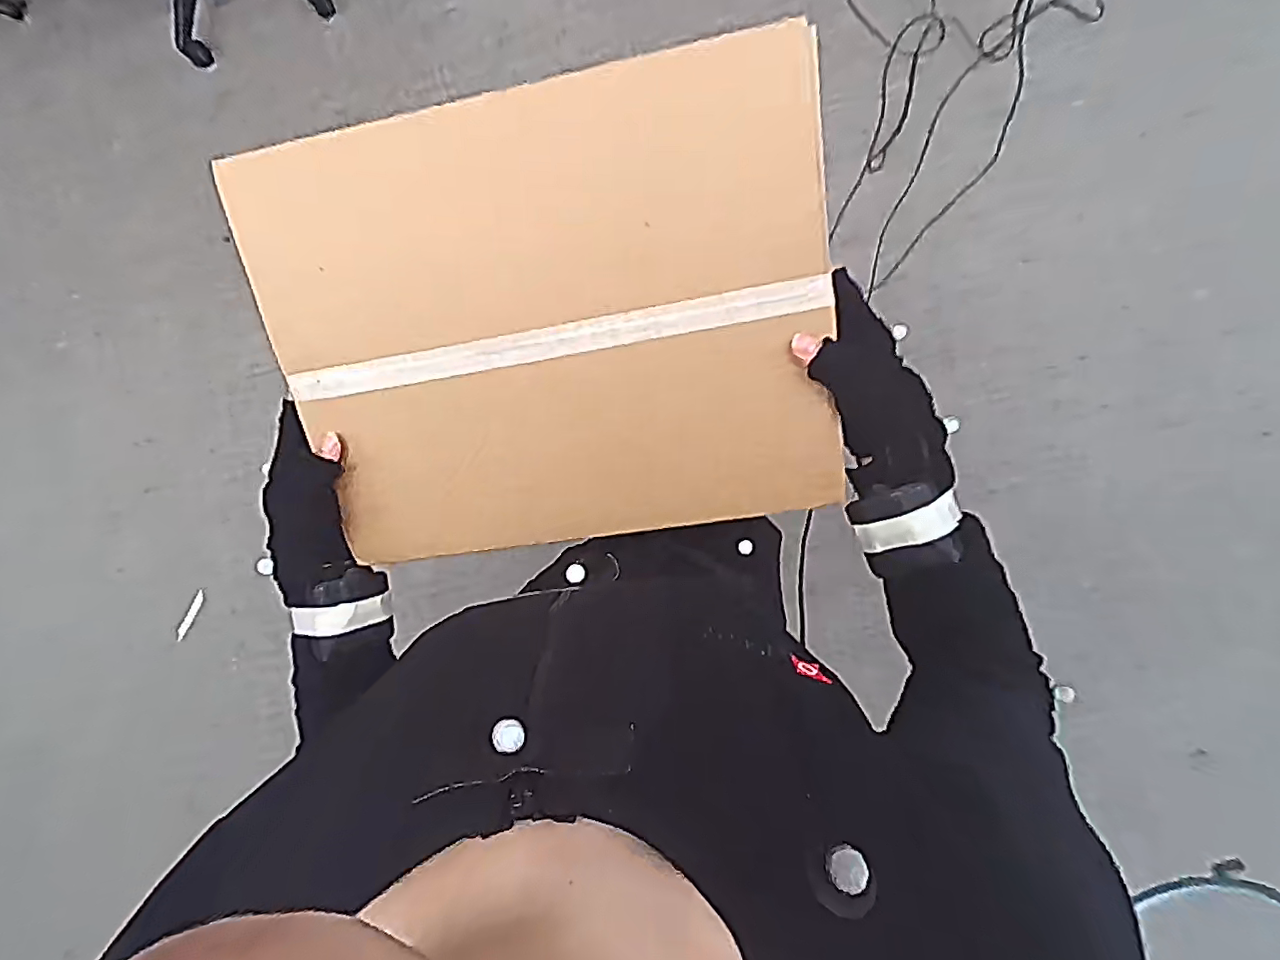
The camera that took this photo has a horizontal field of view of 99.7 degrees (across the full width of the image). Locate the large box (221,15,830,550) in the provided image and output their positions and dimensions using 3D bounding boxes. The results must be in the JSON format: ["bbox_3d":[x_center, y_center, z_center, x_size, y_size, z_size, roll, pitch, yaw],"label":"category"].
[{"bbox_3d":[-0.061,-0.159,0.535,0.408,0.320,0.320,-8,107,7],"label":"large box"}]
